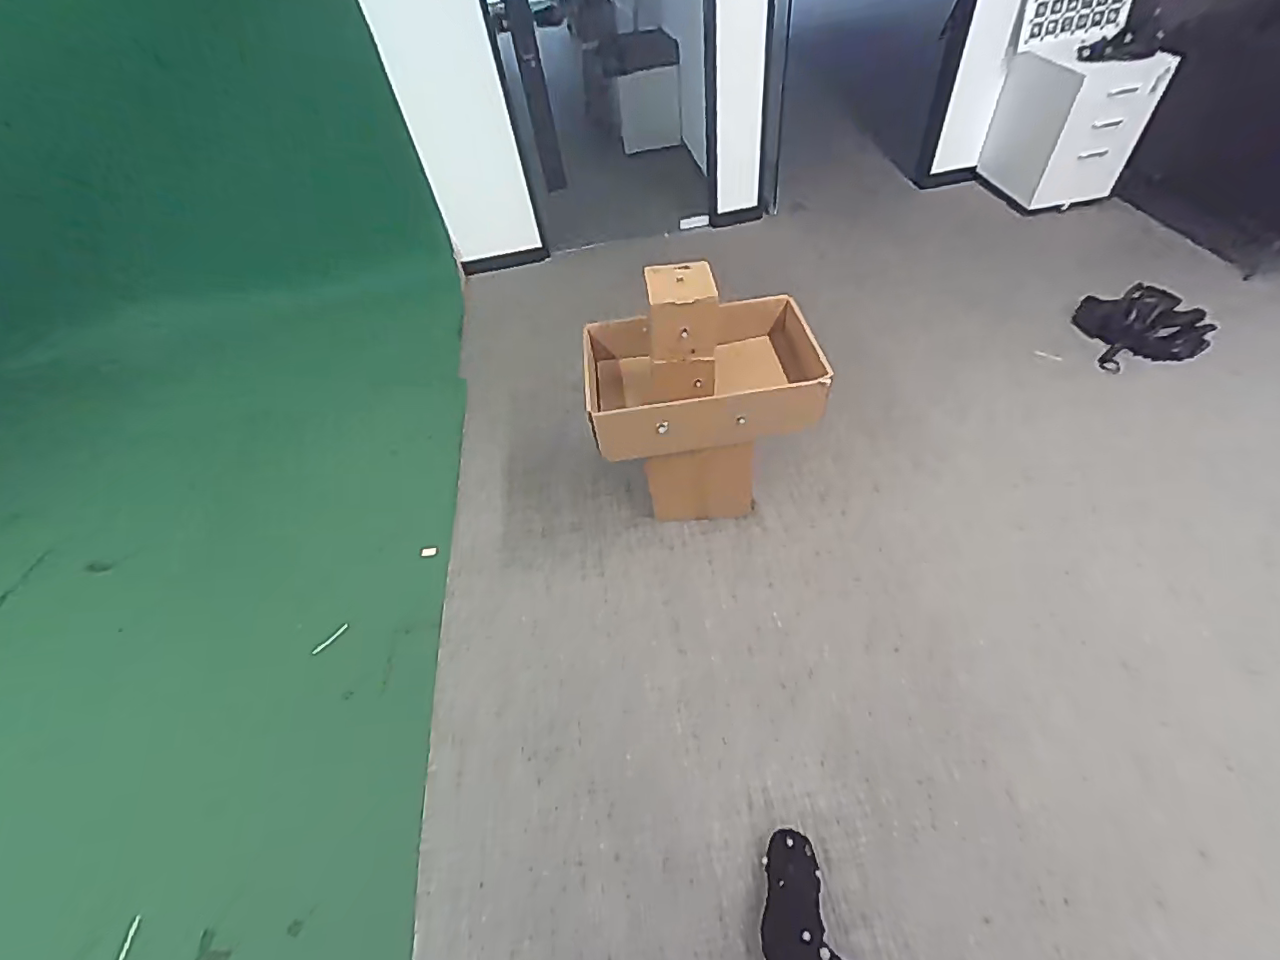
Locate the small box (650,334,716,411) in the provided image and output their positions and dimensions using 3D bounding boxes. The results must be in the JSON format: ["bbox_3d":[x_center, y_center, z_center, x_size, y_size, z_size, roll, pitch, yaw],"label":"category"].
[{"bbox_3d":[0.119,-0.305,1.508,0.168,0.176,0.179,-5,47,0],"label":"small box"}]

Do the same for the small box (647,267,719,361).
[{"bbox_3d":[0.108,-0.420,1.392,0.168,0.176,0.179,-5,50,0],"label":"small box"}]
